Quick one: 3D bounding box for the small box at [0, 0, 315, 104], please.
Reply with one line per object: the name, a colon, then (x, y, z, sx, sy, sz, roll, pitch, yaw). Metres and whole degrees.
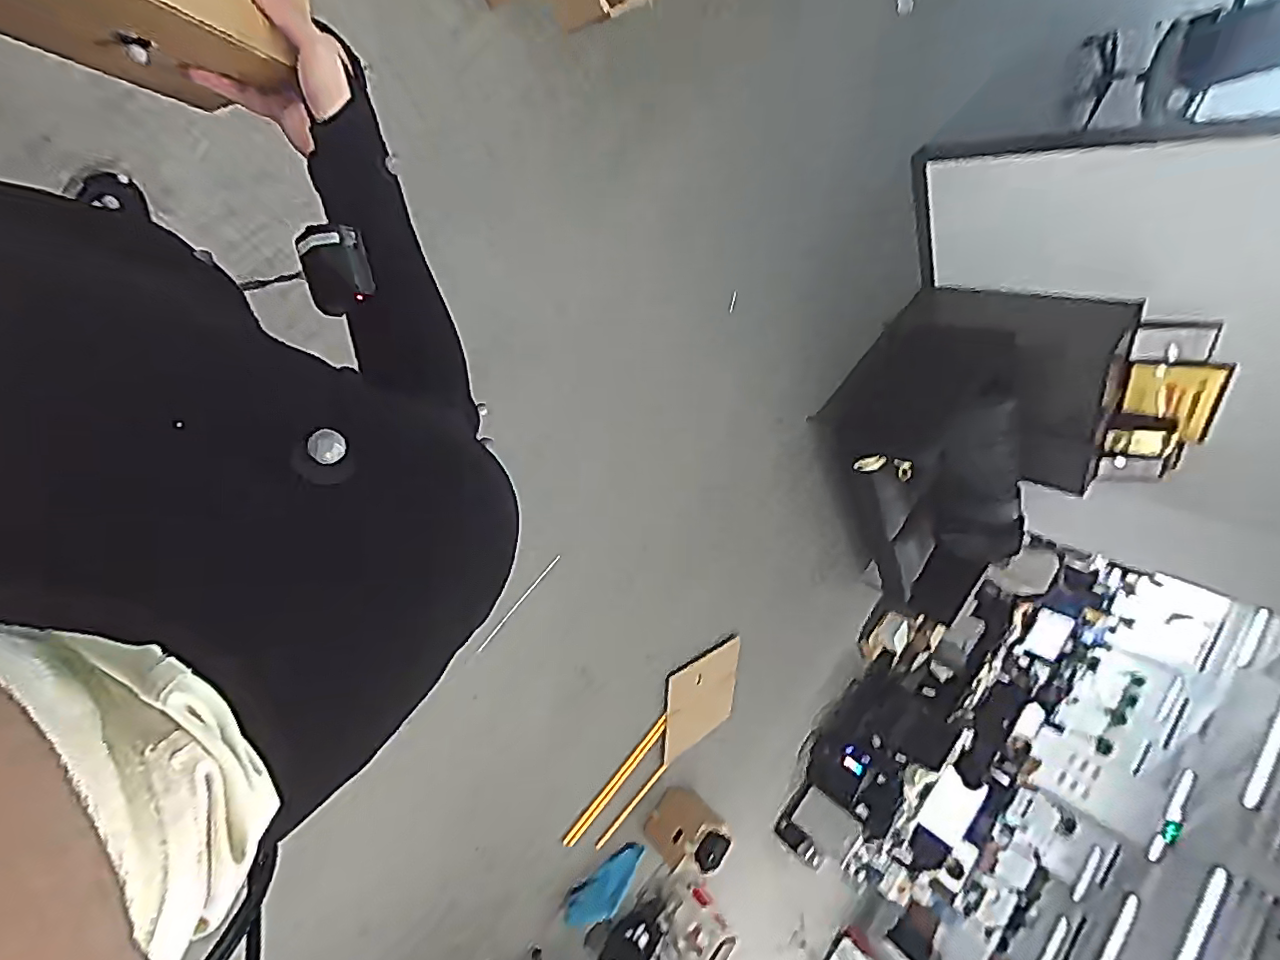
small box: (-0.376, -0.404, 0.392, 0.179, 0.176, 0.168, -21, 115, -61)
